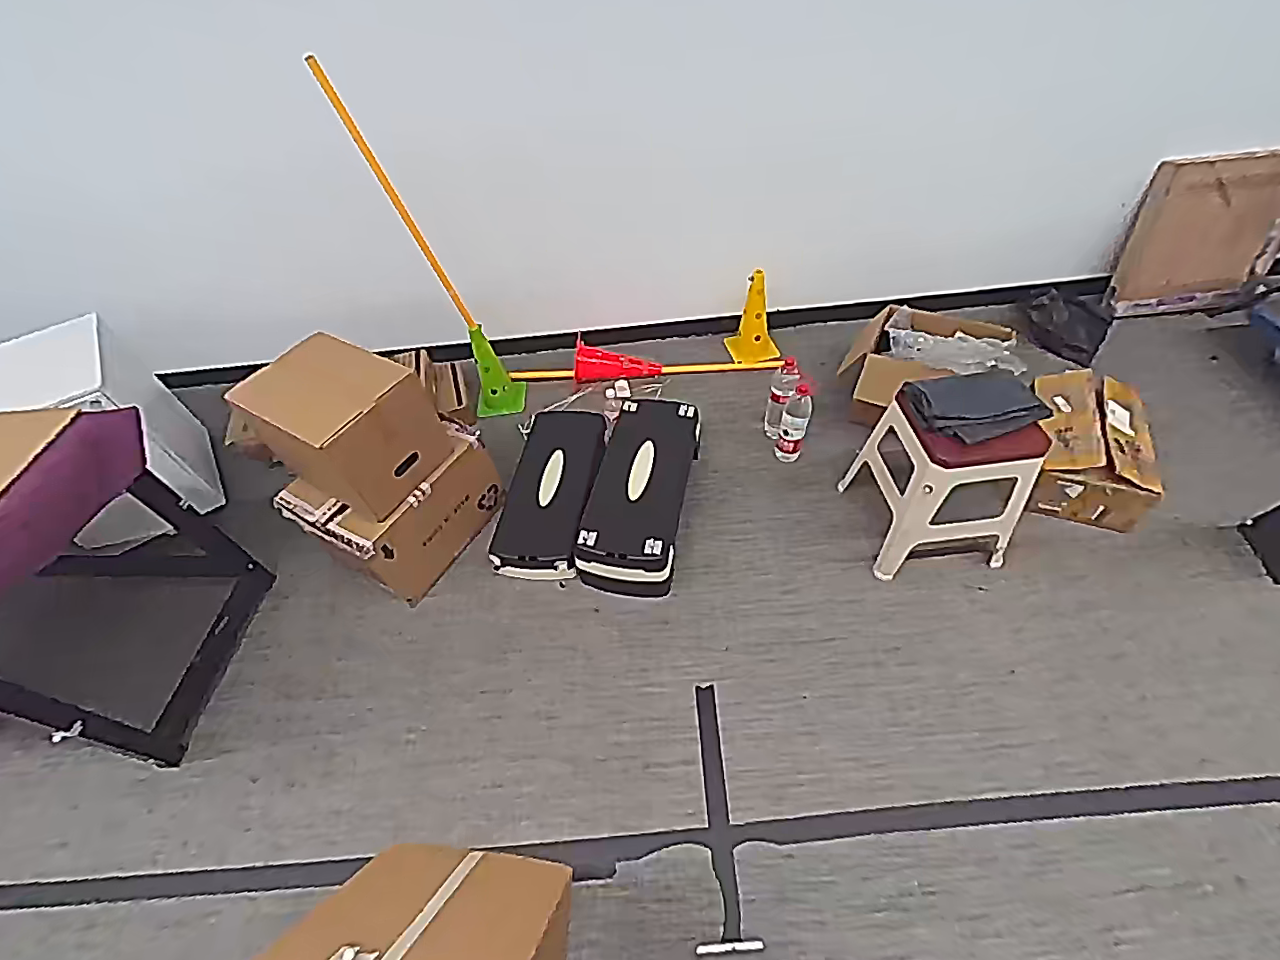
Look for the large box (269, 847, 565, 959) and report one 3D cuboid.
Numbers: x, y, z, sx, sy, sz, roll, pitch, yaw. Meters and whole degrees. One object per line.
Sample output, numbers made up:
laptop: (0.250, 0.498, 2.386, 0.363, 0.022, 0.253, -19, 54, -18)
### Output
large box: (-0.303, 0.745, 0.672, 0.320, 0.408, 0.320, 1, 83, 9)
